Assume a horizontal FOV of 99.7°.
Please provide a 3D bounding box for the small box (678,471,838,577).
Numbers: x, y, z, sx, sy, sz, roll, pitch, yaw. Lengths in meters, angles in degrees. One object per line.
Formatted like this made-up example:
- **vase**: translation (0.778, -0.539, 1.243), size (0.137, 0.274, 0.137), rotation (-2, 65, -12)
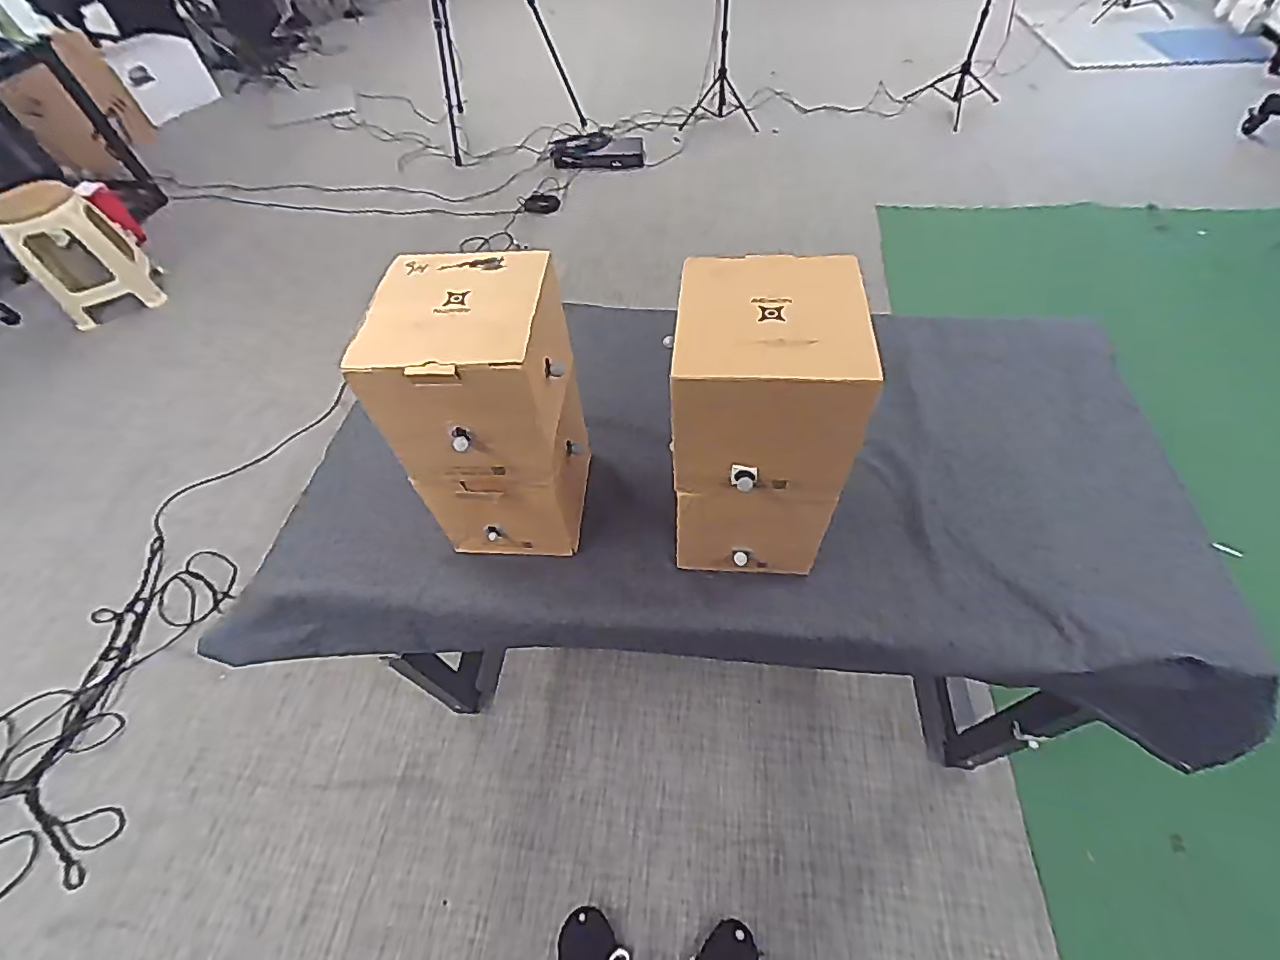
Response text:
- **small box**: translation (0.134, 0.001, 0.671), size (0.168, 0.176, 0.179), rotation (2, 53, 6)

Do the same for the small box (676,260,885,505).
- **small box**: translation (0.124, -0.096, 0.541), size (0.168, 0.176, 0.179), rotation (2, 53, 7)

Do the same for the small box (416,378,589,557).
- **small box**: translation (-0.162, -0.018, 0.711), size (0.168, 0.176, 0.179), rotation (1, 53, 4)

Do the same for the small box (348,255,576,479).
- **small box**: translation (-0.167, -0.113, 0.578), size (0.168, 0.176, 0.179), rotation (0, 54, 4)
